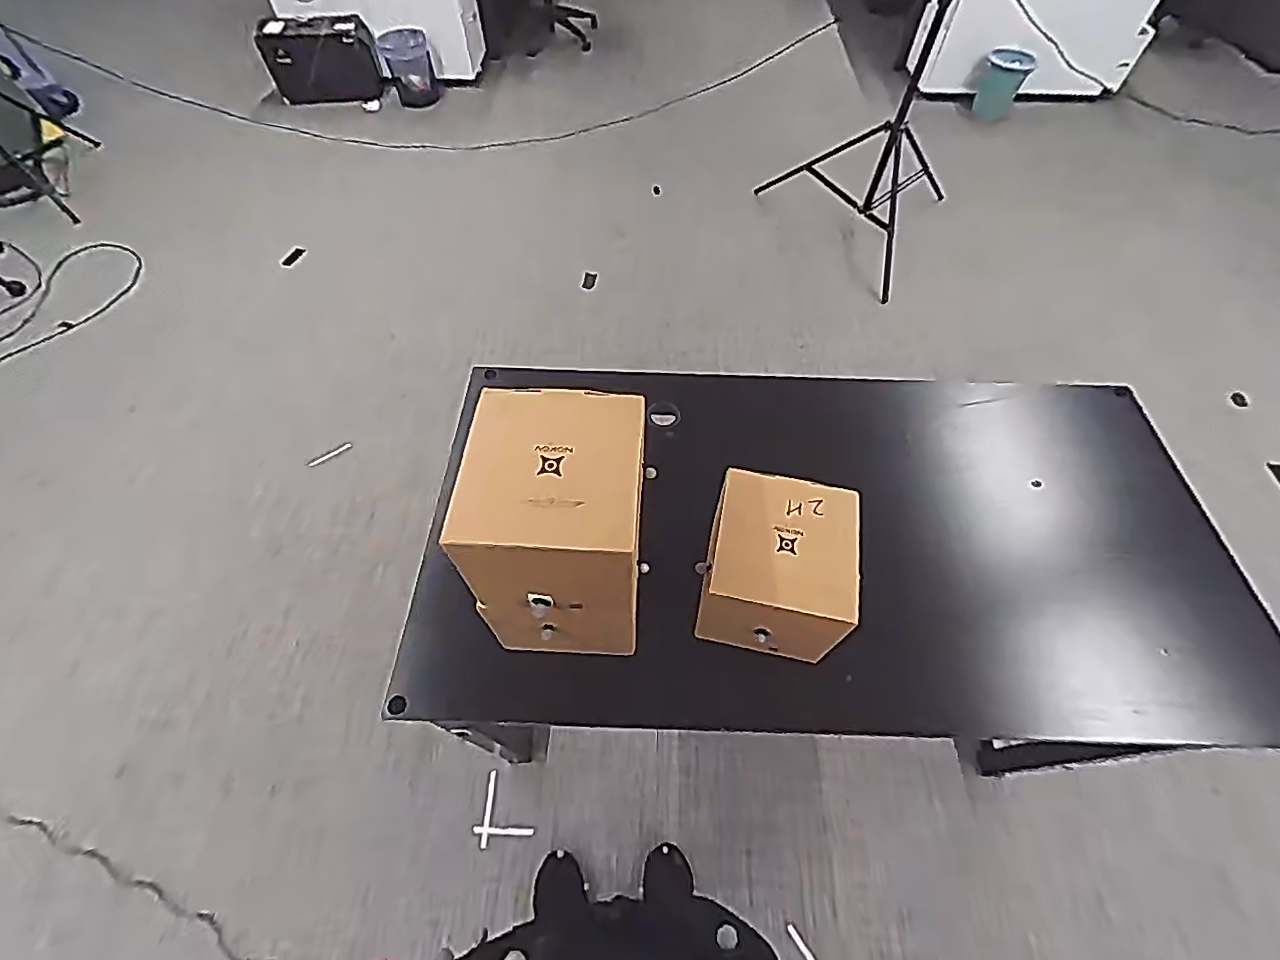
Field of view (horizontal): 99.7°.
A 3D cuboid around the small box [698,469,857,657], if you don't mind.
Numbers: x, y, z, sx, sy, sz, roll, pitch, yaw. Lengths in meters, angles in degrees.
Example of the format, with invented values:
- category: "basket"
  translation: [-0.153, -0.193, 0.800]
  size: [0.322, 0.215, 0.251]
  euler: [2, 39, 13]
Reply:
- category: "small box"
  translation: [0.173, 0.115, 0.710]
  size: [0.168, 0.176, 0.179]
  euler: [11, 57, 6]

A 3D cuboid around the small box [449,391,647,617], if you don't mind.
- category: "small box"
  translation: [-0.080, 0.029, 0.569]
  size: [0.168, 0.176, 0.179]
  euler: [2, 58, 1]

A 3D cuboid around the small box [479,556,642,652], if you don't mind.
- category: "small box"
  translation: [-0.088, 0.119, 0.706]
  size: [0.179, 0.176, 0.168]
  euler: [2, 57, 1]
